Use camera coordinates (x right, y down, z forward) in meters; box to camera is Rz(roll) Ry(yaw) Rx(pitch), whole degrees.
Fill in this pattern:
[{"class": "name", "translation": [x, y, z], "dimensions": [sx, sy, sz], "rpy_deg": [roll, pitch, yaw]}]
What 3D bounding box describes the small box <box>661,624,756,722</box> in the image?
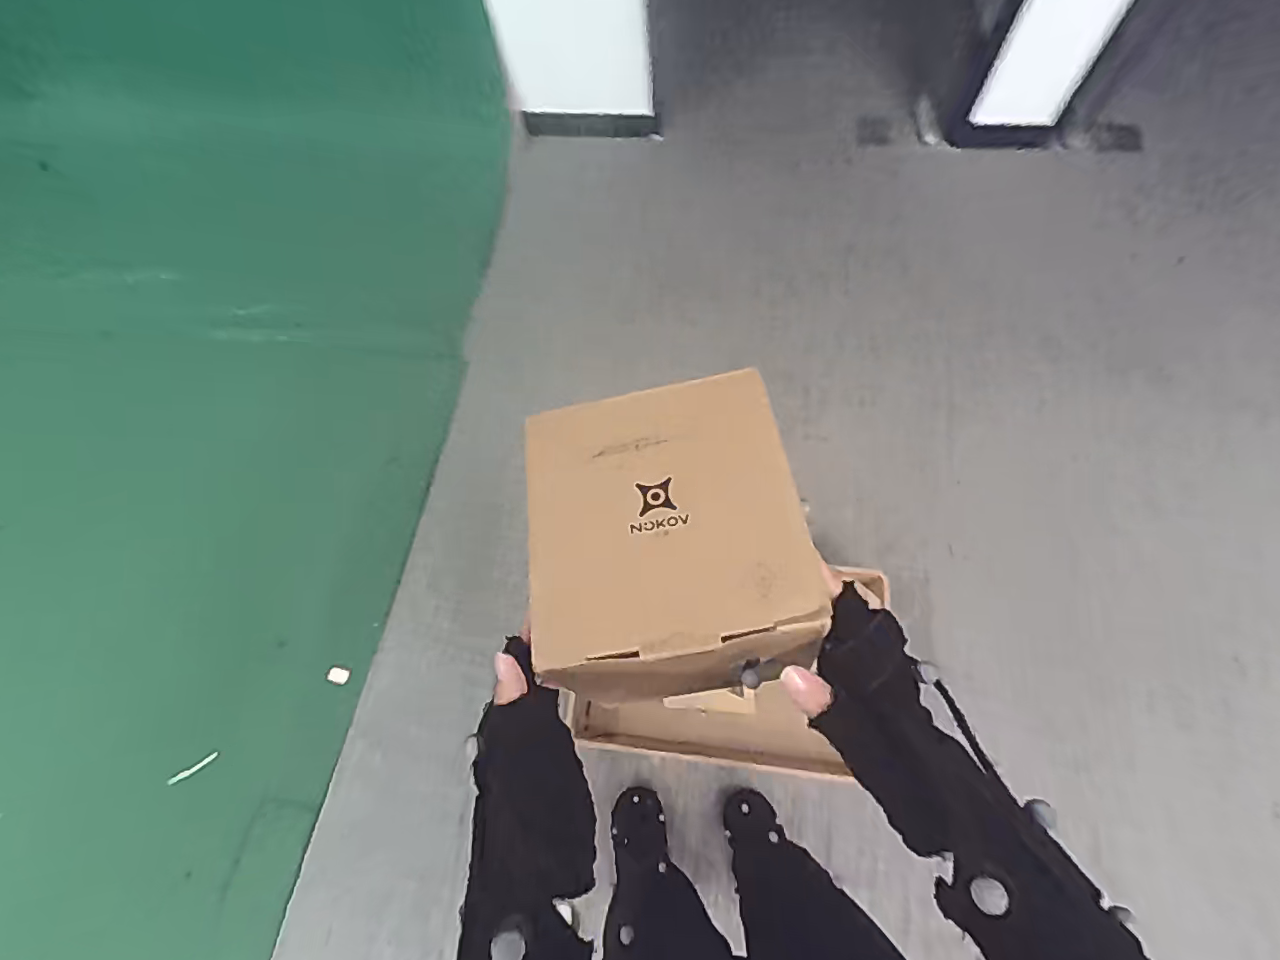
[{"class": "small box", "translation": [0.141, 0.398, 1.117], "dimensions": [0.179, 0.176, 0.168], "rpy_deg": [3, 68, 8]}]
